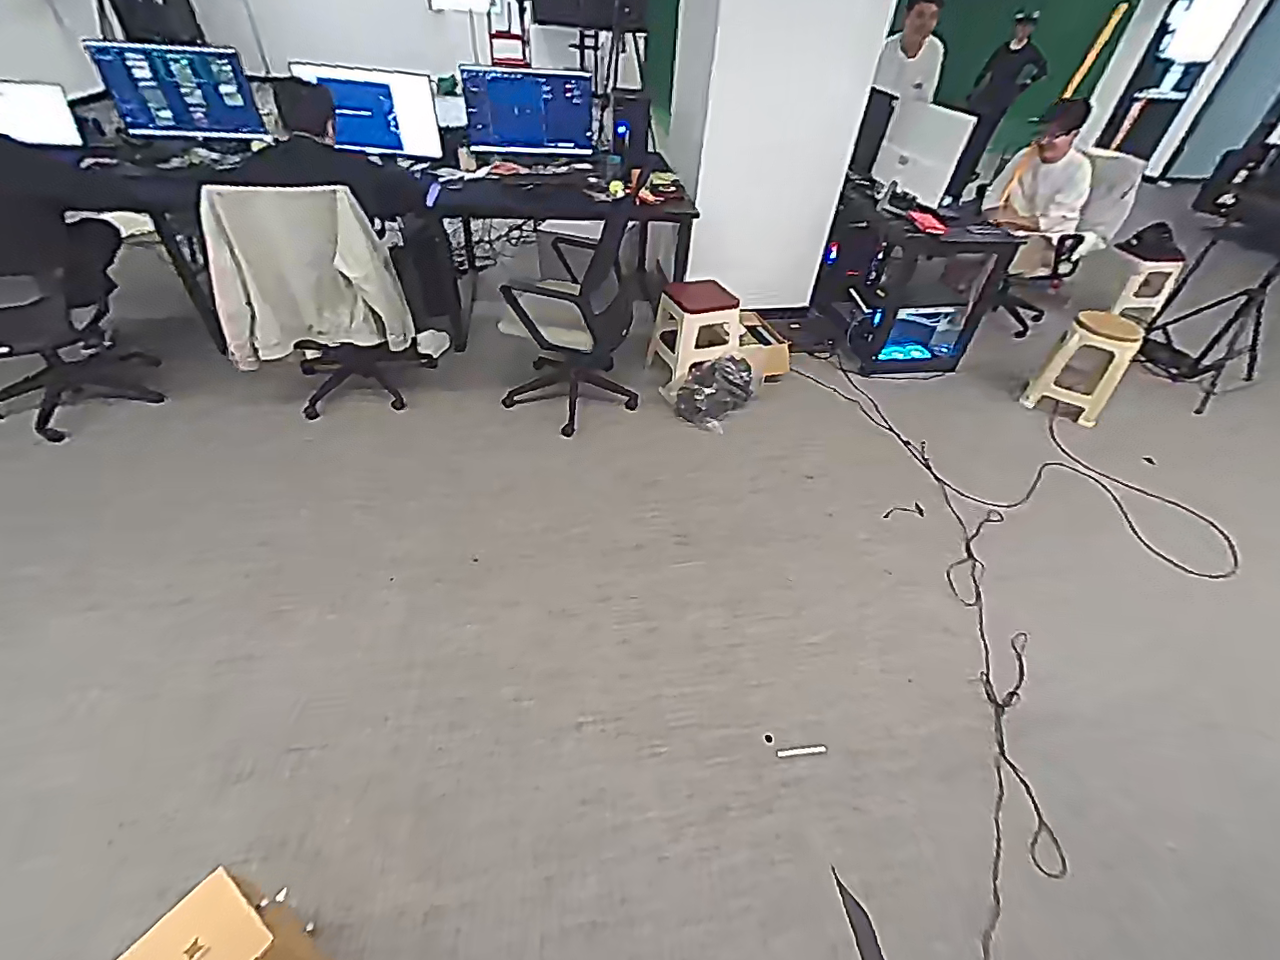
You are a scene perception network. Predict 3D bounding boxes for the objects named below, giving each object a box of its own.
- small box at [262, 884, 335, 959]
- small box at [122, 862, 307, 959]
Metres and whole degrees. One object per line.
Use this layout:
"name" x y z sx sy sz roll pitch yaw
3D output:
"small box" -0.732 0.940 1.042 0.179 0.176 0.168 28 47 24
"small box" -0.721 0.818 0.934 0.179 0.176 0.168 29 46 22
